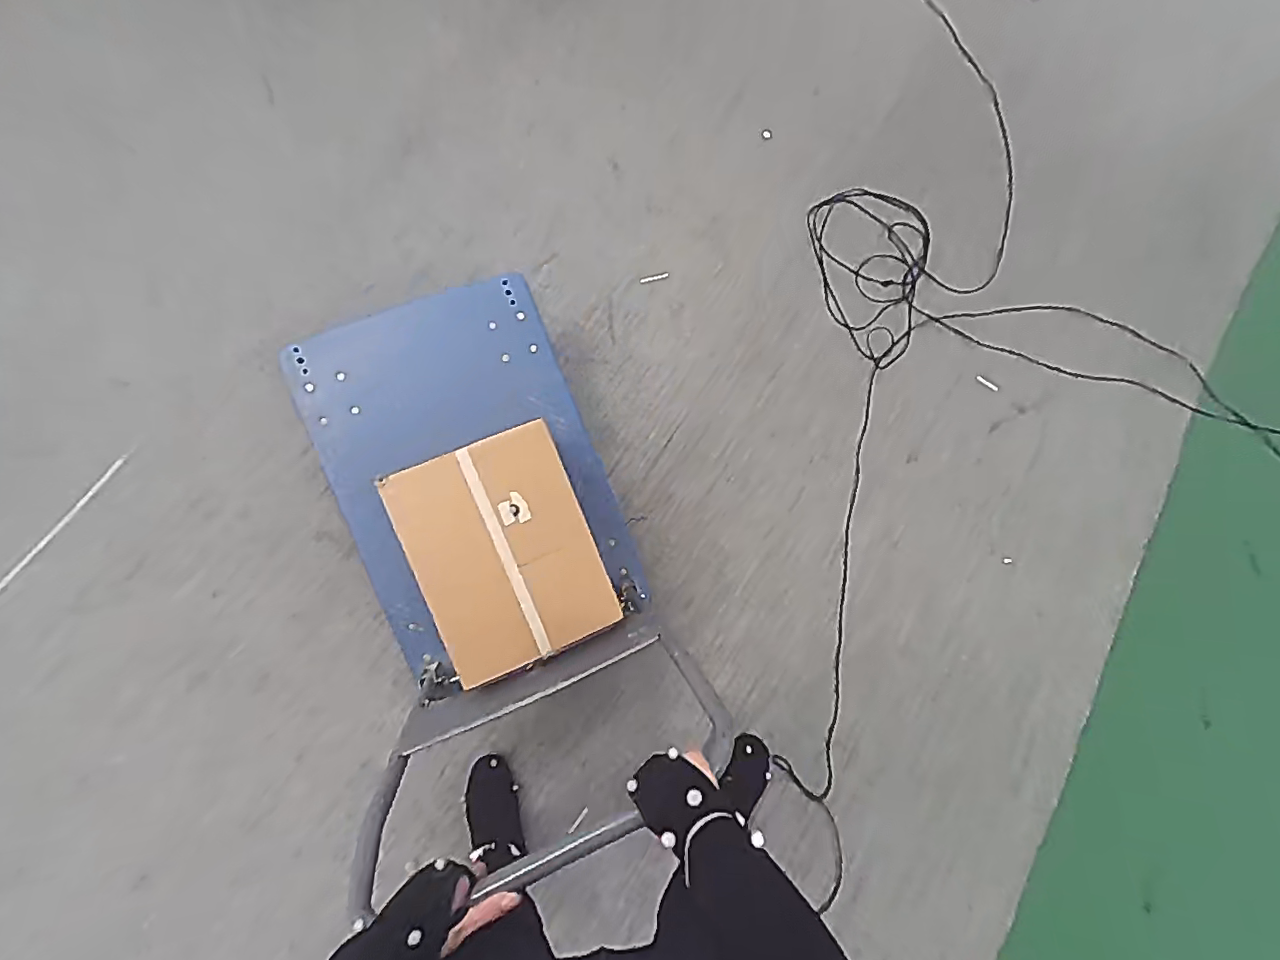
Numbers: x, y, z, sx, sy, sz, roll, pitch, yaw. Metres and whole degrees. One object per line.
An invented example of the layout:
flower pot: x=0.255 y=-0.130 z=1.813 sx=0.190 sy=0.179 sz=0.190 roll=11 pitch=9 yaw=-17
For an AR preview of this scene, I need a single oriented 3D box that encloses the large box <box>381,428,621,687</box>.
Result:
large box: x=-0.271 y=0.143 z=1.143 sx=0.320 sy=0.320 sz=0.408 roll=-23 pitch=93 yaw=-10
